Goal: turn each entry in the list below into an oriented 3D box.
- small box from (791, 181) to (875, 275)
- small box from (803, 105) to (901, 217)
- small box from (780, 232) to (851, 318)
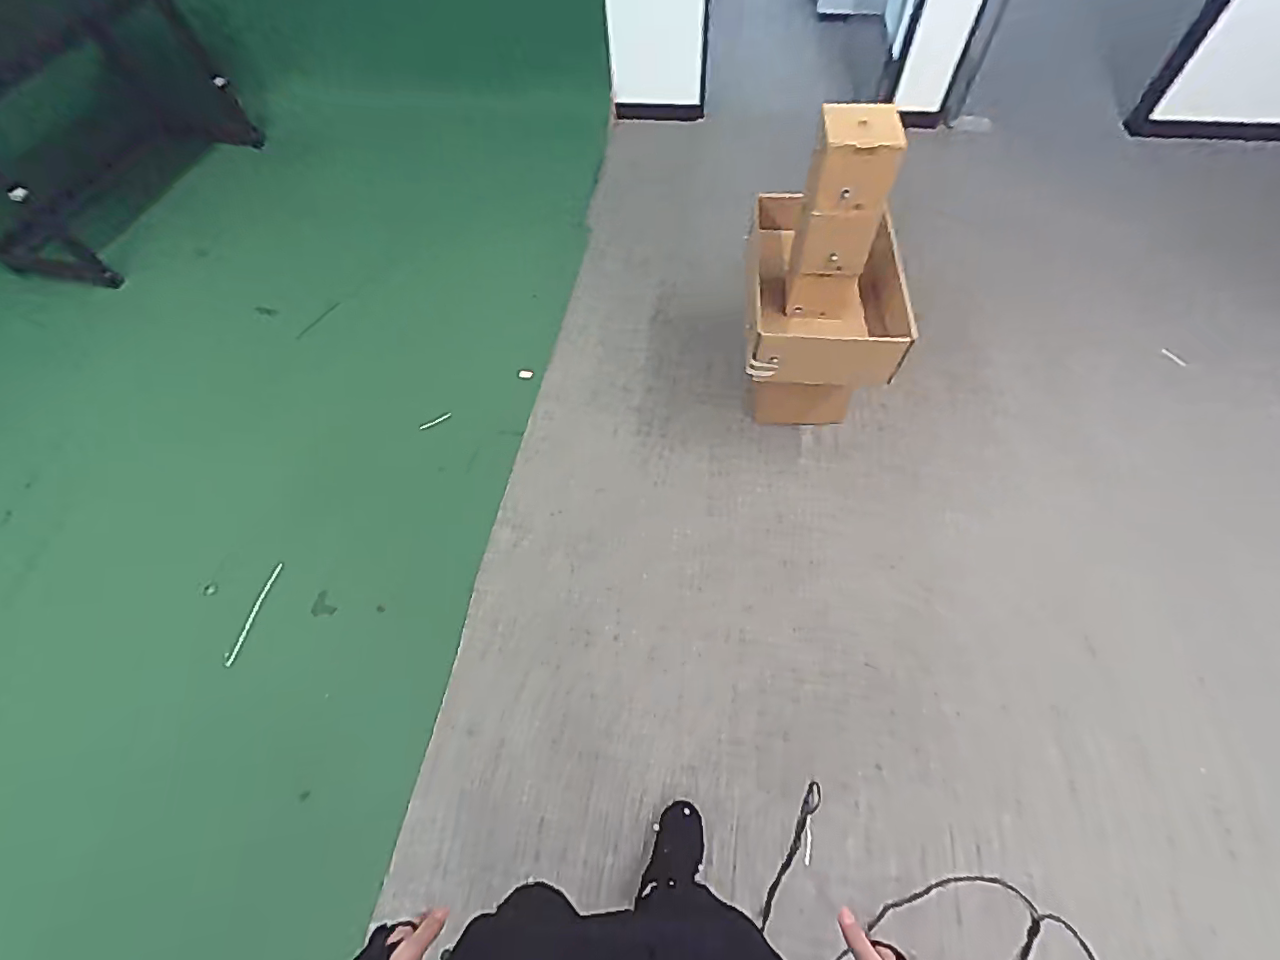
[{"bbox_3d":[0.497,-0.664,1.414,0.168,0.176,0.179,3,59,5],"label":"small box"},{"bbox_3d":[0.490,-0.751,1.278,0.168,0.176,0.179,4,60,4],"label":"small box"},{"bbox_3d":[0.503,-0.589,1.561,0.168,0.176,0.179,5,59,5],"label":"small box"}]
